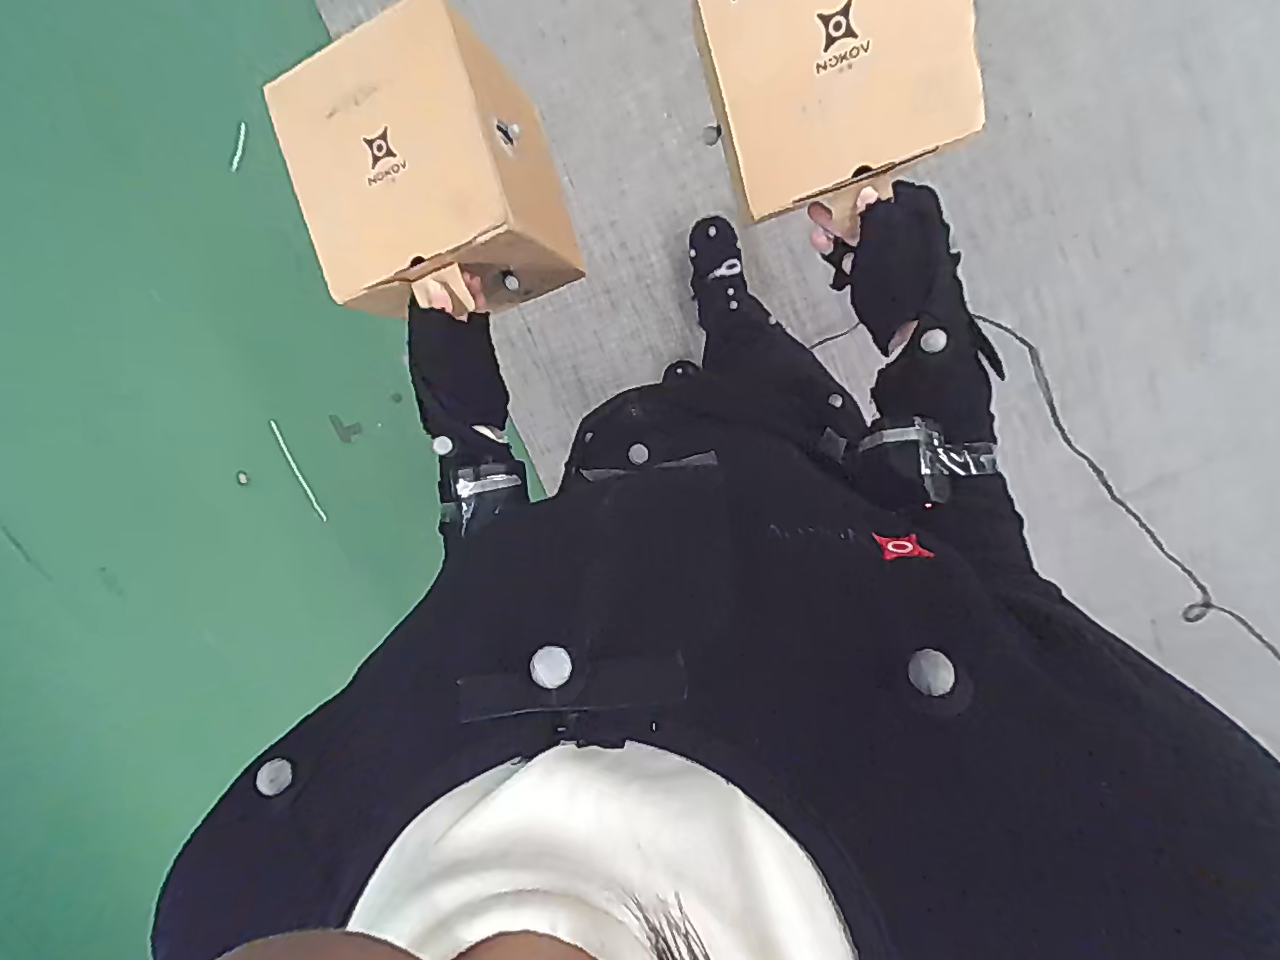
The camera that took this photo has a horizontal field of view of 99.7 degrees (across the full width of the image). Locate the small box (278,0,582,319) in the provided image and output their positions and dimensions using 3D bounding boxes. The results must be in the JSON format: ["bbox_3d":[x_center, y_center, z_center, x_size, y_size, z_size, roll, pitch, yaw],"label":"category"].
[{"bbox_3d":[-0.172,-0.259,0.493,0.168,0.176,0.179,-16,92,16],"label":"small box"}]
